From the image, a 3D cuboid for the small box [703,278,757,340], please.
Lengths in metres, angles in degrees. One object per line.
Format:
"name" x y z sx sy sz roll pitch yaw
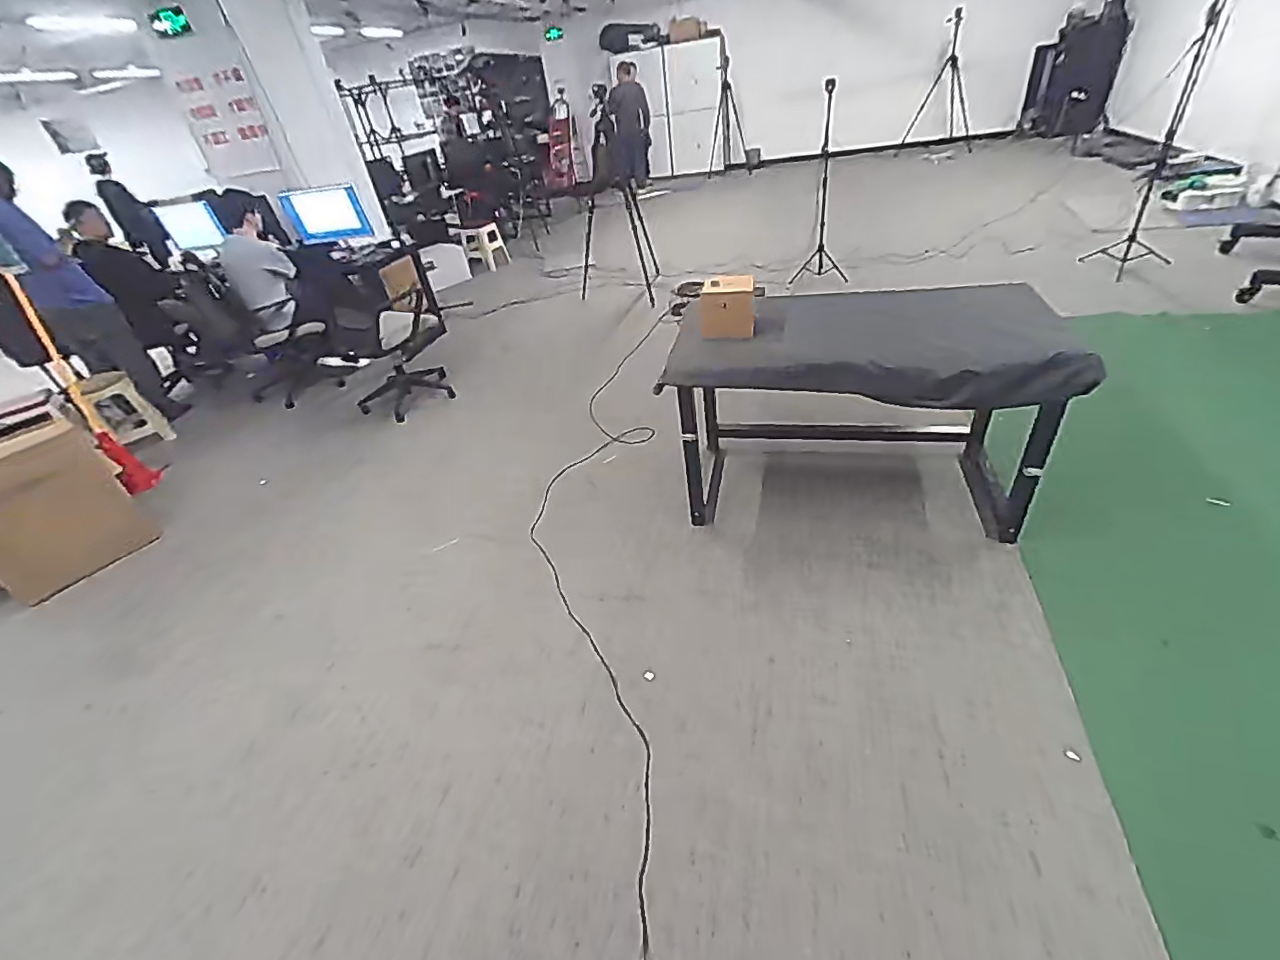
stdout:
"small box" 0.324 -0.606 1.926 0.179 0.176 0.168 2 38 13
